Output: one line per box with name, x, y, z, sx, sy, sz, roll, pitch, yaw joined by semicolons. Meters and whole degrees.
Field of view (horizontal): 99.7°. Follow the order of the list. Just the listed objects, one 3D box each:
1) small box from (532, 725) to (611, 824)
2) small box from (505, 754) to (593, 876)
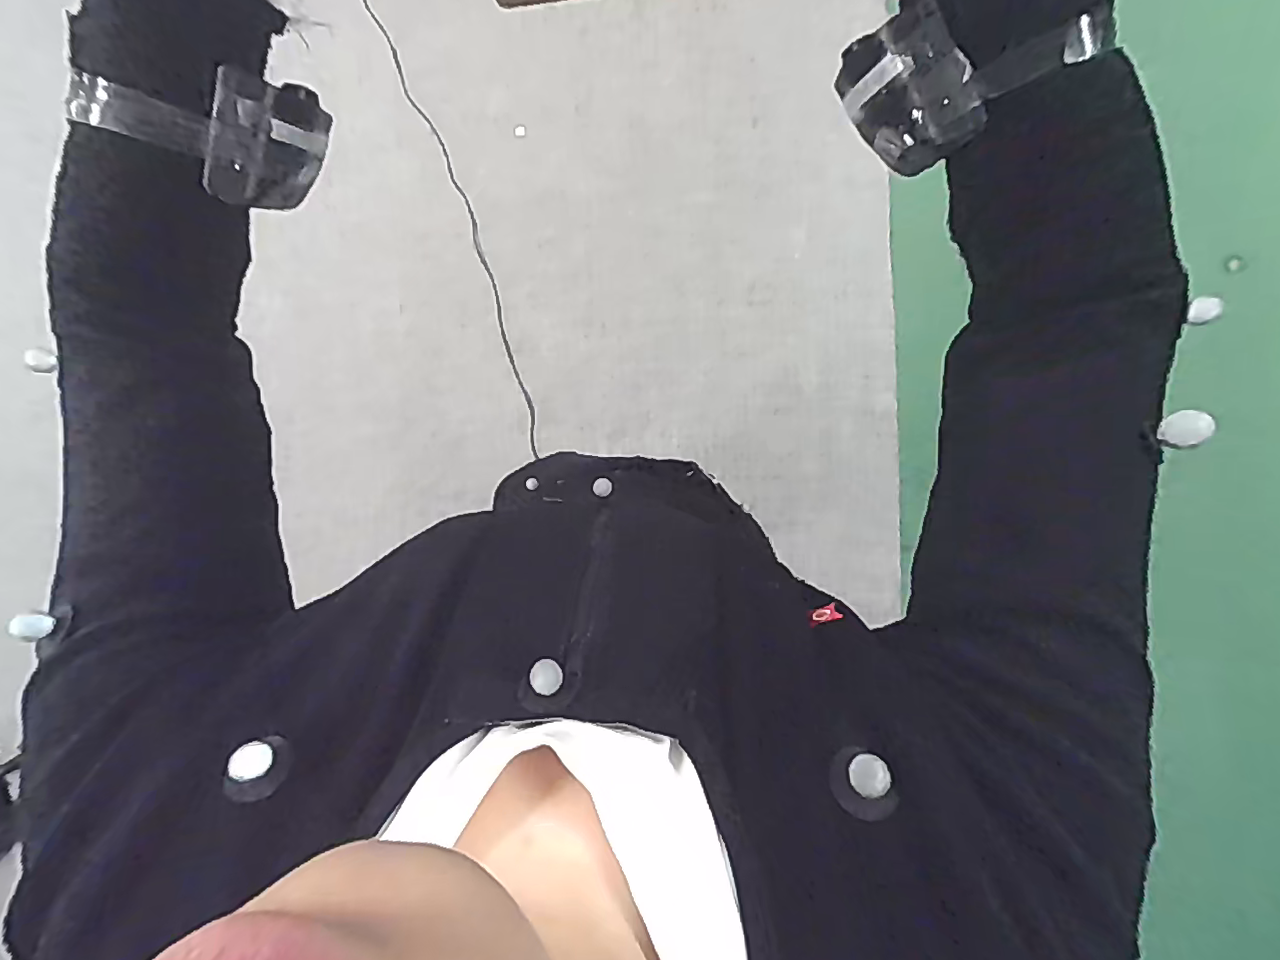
small box;-0.173;0.745;1.386;0.179;0.176;0.168;1;89;3
small box;-0.199;0.751;1.226;0.168;0.176;0.179;0;89;3
